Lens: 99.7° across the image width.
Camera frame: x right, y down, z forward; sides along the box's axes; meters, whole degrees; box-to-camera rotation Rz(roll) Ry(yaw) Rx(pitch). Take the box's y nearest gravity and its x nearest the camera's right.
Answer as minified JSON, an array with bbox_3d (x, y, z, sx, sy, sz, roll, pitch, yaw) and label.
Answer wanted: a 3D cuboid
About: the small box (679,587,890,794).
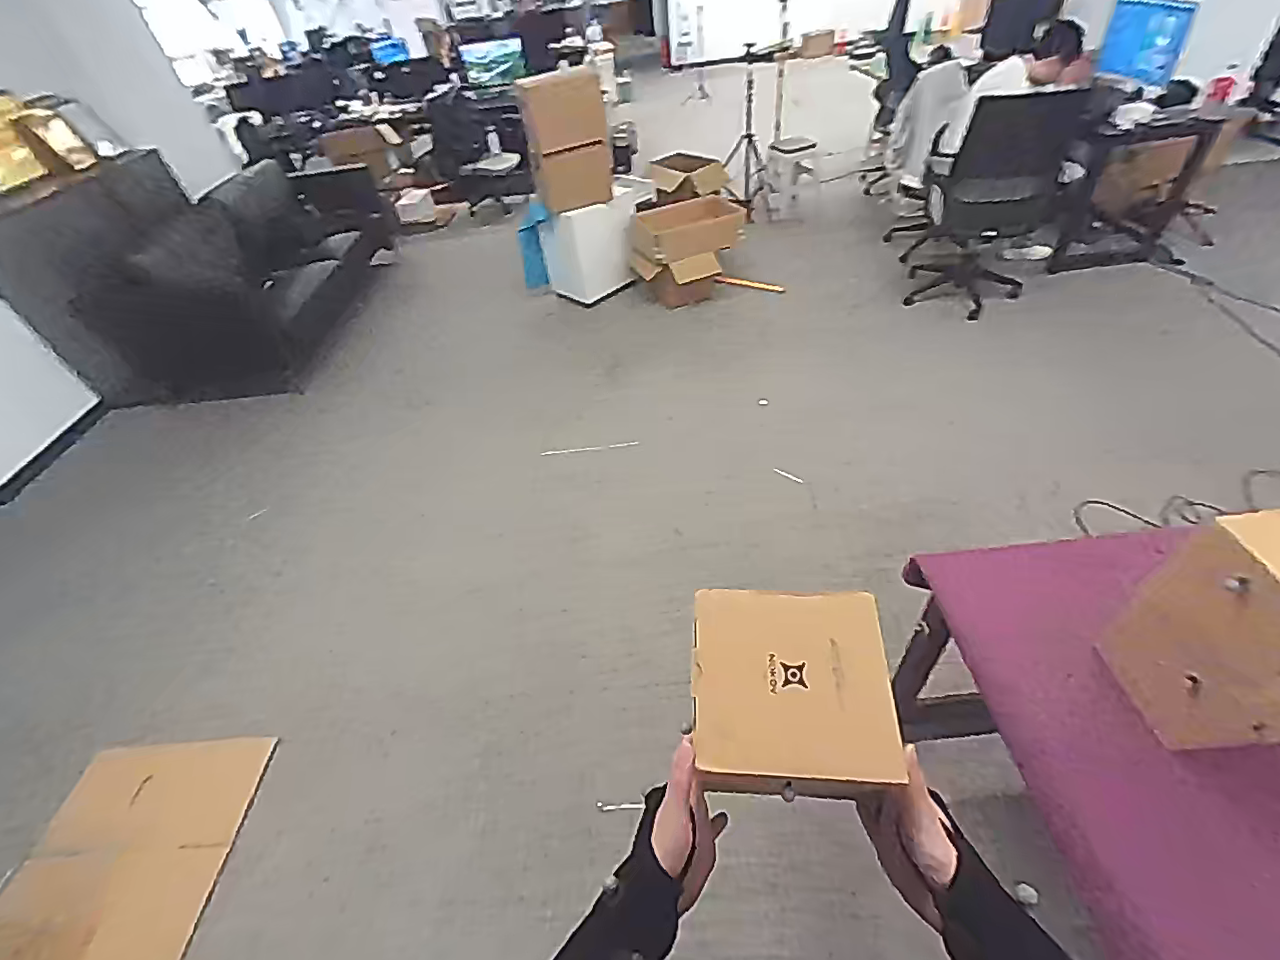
[{"bbox_3d":[0.136,0.222,0.562,0.179,0.176,0.168,0,56,8],"label":"small box"}]

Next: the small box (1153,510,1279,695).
[{"bbox_3d":[0.823,0.155,0.678,0.168,0.176,0.179,-6,44,4],"label":"small box"}]

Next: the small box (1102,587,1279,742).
[{"bbox_3d":[0.845,0.268,0.791,0.168,0.176,0.179,-5,45,4],"label":"small box"}]
